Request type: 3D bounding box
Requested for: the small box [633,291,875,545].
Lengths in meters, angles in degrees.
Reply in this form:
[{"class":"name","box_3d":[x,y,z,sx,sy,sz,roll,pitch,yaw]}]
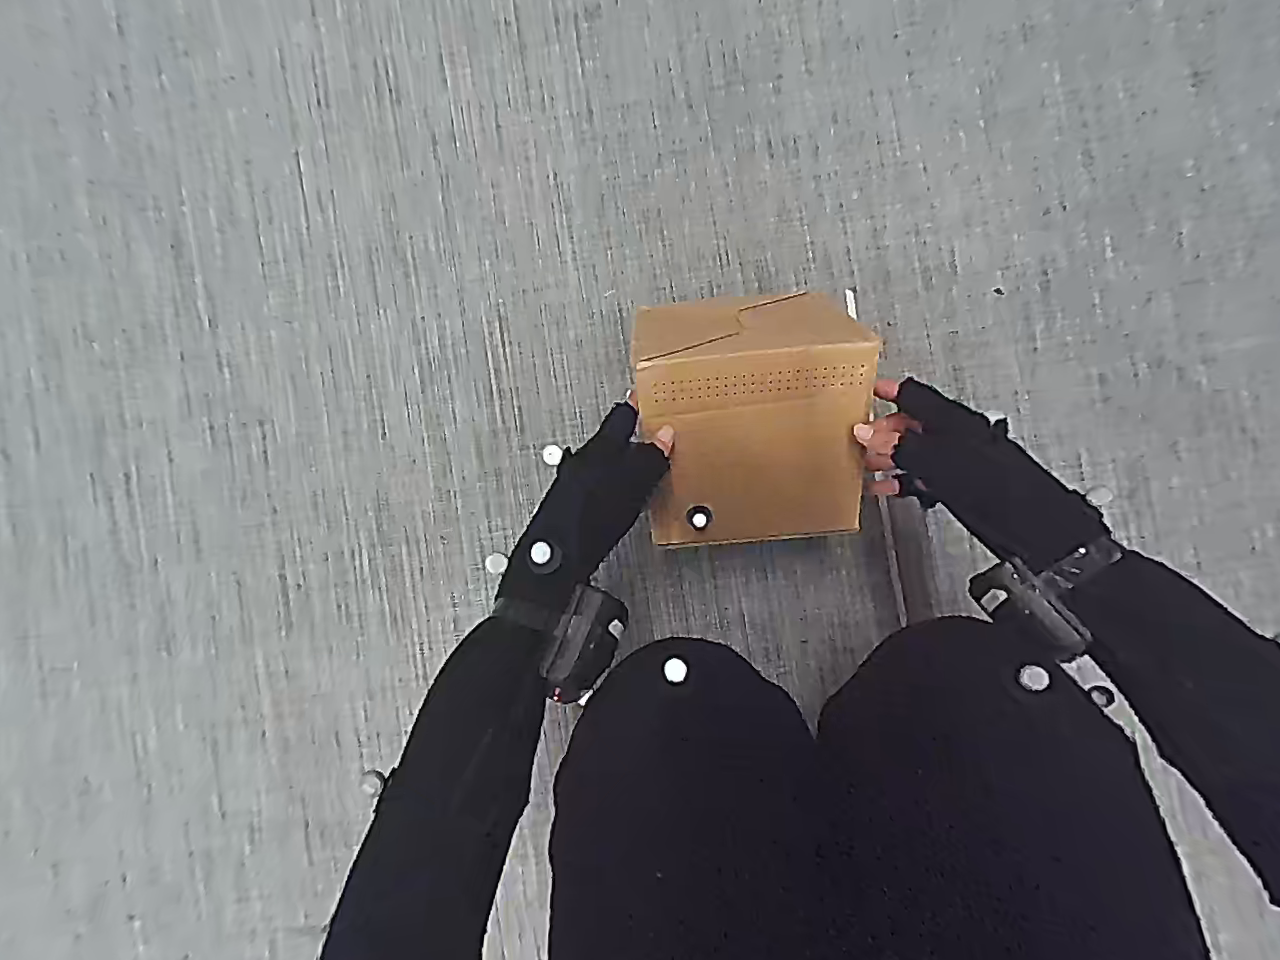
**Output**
[{"class":"small box","box_3d":[0.090,-0.063,0.482,0.179,0.168,0.176,-4,121,3]}]
